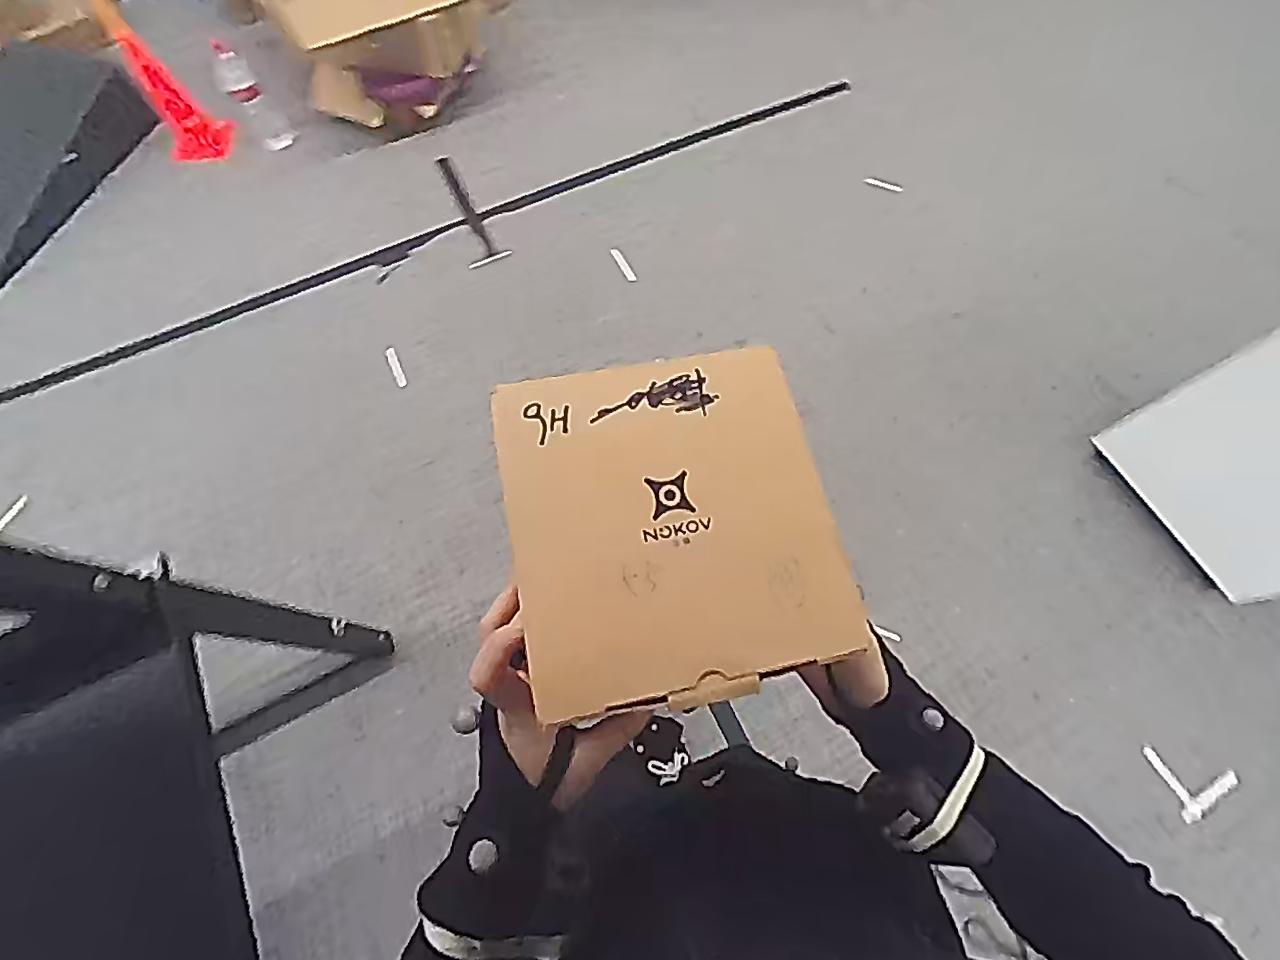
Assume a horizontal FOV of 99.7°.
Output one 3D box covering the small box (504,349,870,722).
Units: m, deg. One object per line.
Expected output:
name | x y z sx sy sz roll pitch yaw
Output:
small box | 0.015 0.041 0.355 0.168 0.176 0.179 -9 73 -8
